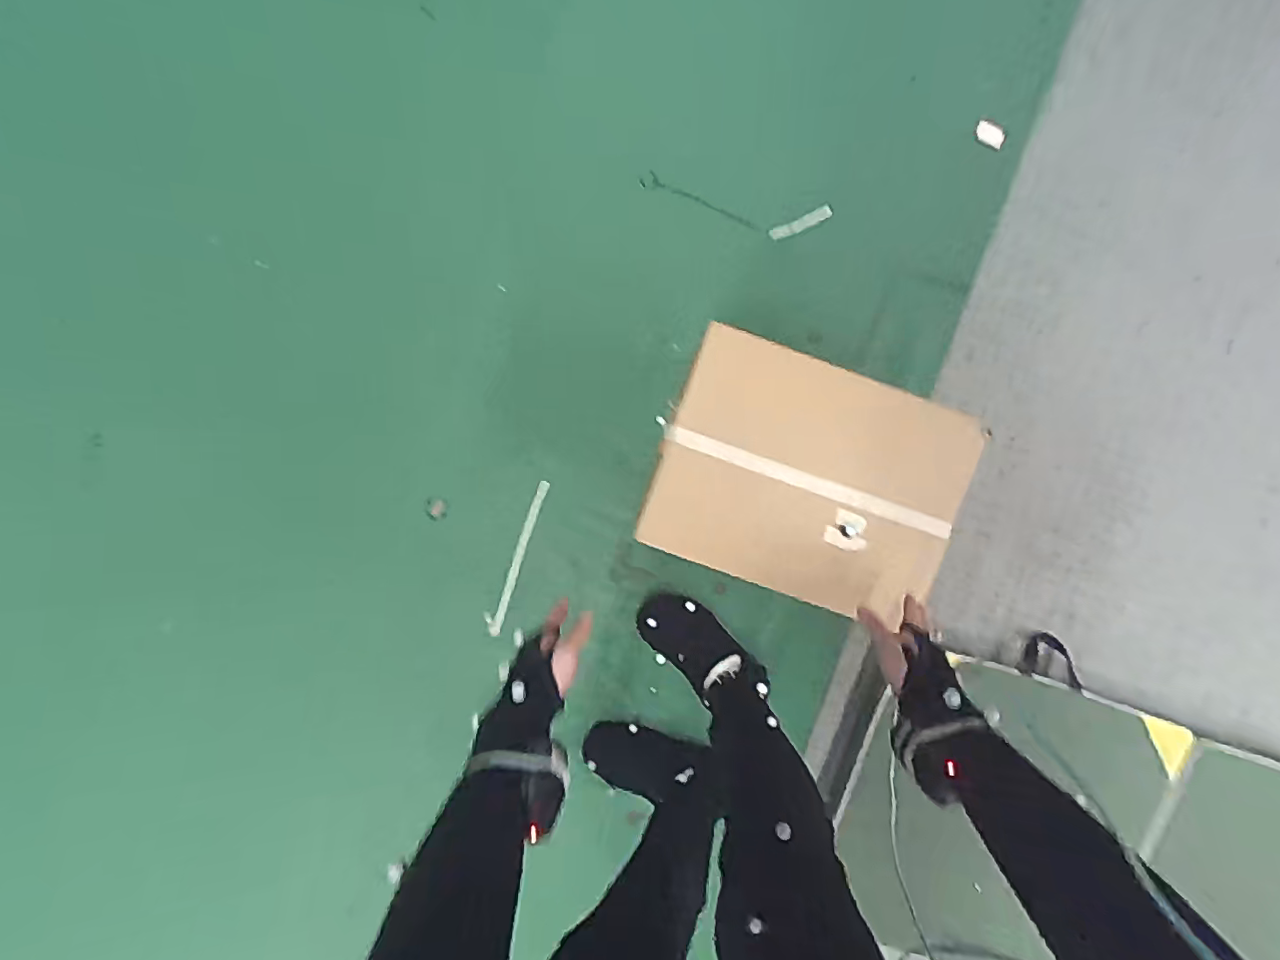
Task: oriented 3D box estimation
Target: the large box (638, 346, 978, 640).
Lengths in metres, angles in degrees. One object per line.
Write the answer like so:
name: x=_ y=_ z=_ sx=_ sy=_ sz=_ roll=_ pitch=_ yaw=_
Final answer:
large box: x=0.231 y=0.015 z=0.896 sx=0.408 sy=0.320 sz=0.320 roll=20 pitch=92 yaw=-2
